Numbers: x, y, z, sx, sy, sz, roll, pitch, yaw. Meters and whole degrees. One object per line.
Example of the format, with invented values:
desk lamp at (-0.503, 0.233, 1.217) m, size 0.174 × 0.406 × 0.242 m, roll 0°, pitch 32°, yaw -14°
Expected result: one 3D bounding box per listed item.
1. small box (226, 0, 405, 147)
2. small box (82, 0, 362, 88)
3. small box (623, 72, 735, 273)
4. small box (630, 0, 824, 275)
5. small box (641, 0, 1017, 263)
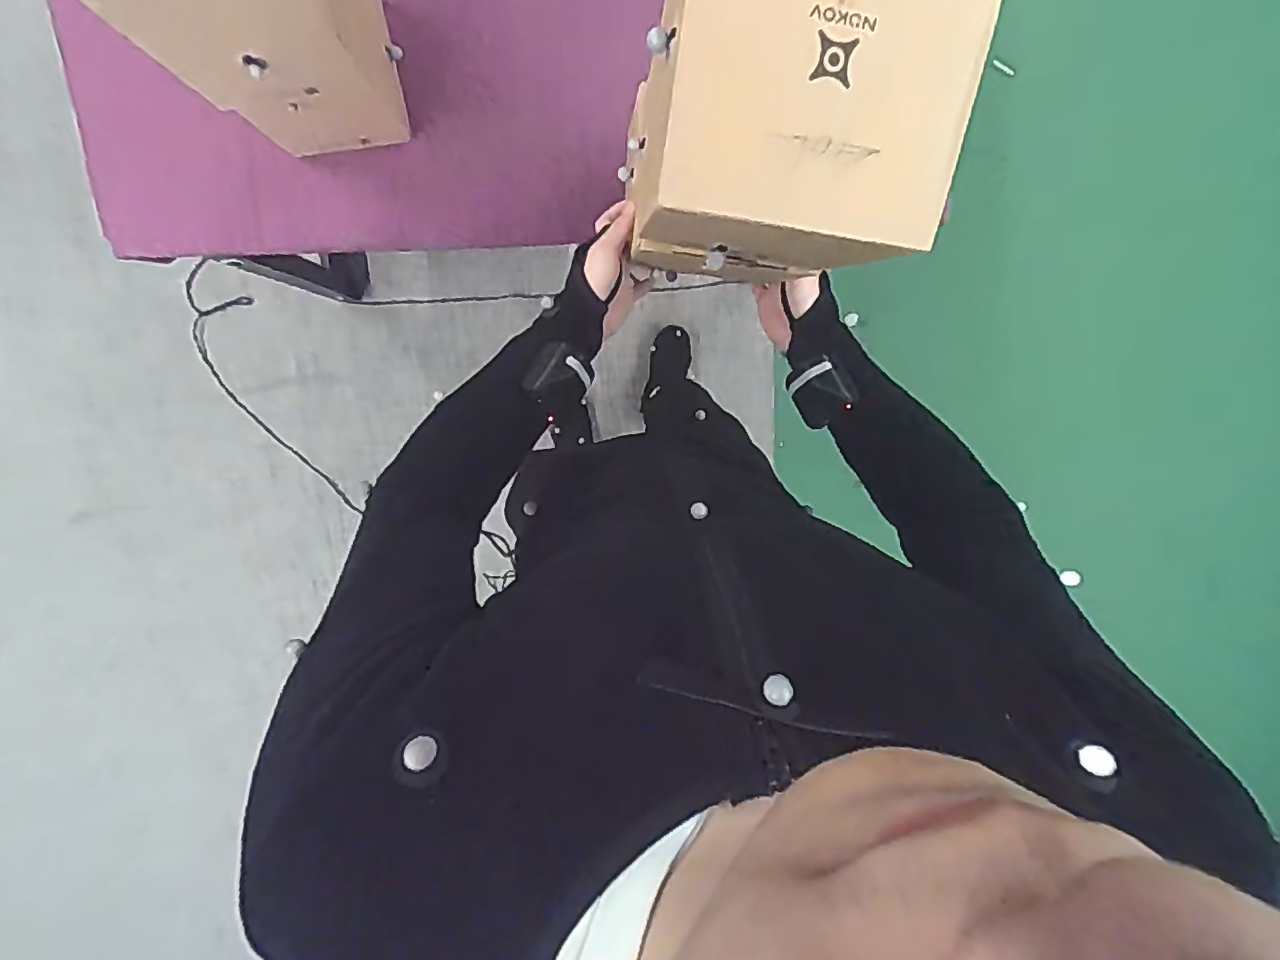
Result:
small box at (-0.396, -0.524, 0.630) m, size 0.168 × 0.176 × 0.179 m, roll -11°, pitch 102°, yaw -5°
small box at (-0.370, -0.476, 0.473) m, size 0.168 × 0.176 × 0.179 m, roll -10°, pitch 102°, yaw -7°
small box at (0.068, -0.353, 0.658) m, size 0.168 × 0.176 × 0.179 m, roll 3°, pitch 108°, yaw -6°
small box at (0.084, -0.296, 0.504) m, size 0.168 × 0.176 × 0.179 m, roll 6°, pitch 107°, yaw -7°
small box at (0.097, -0.250, 0.348) m, size 0.168 × 0.176 × 0.179 m, roll 7°, pitch 108°, yaw -7°
